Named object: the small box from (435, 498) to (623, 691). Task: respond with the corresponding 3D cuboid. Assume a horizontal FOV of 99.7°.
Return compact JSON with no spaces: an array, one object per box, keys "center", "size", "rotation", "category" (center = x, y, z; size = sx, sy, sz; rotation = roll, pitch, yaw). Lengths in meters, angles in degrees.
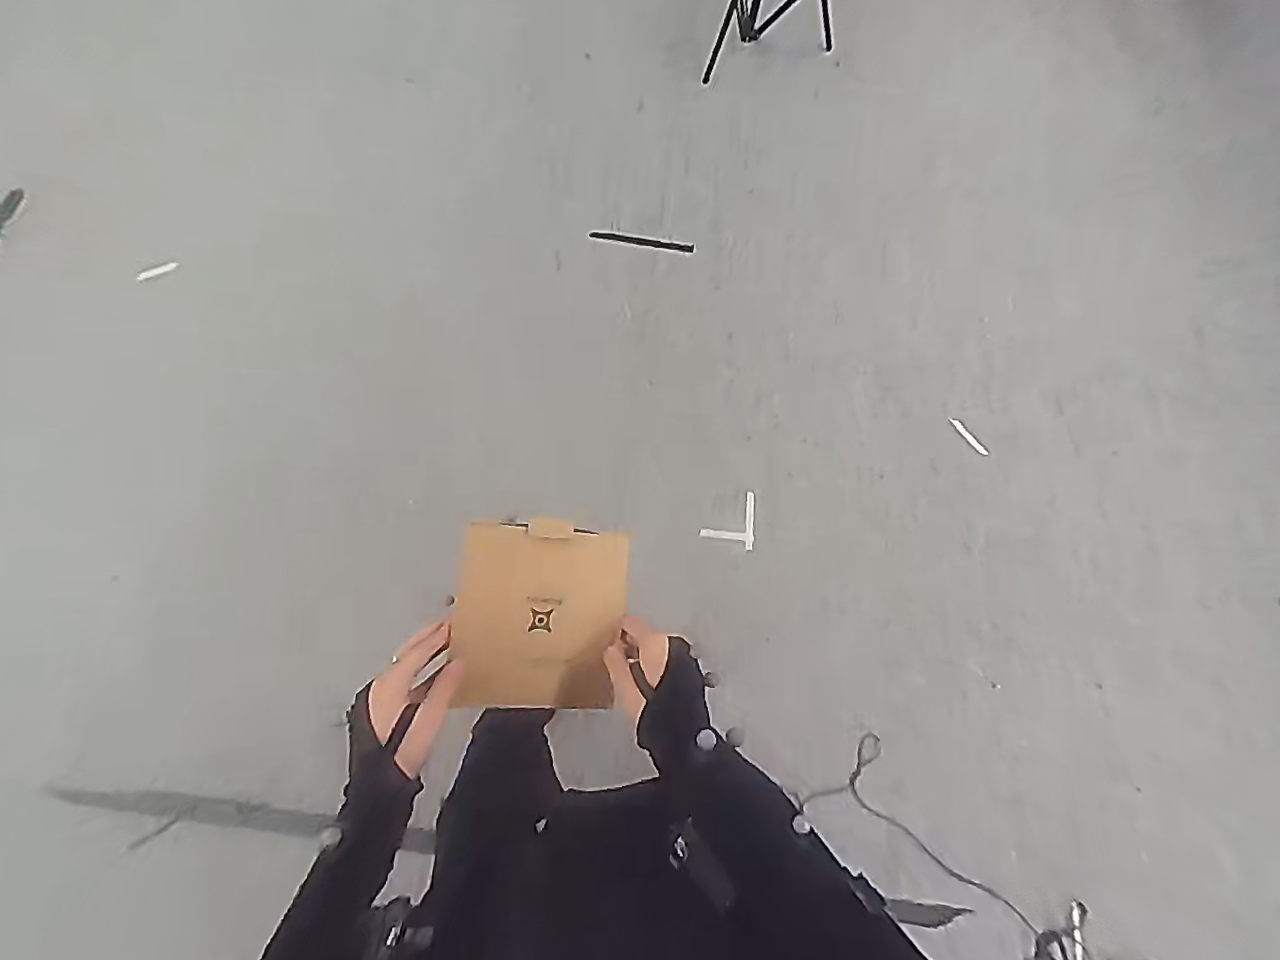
[{"center":[-0.125,0.123,0.602],"size":[0.168,0.176,0.179],"rotation":[8,81,-15],"category":"small box"}]
